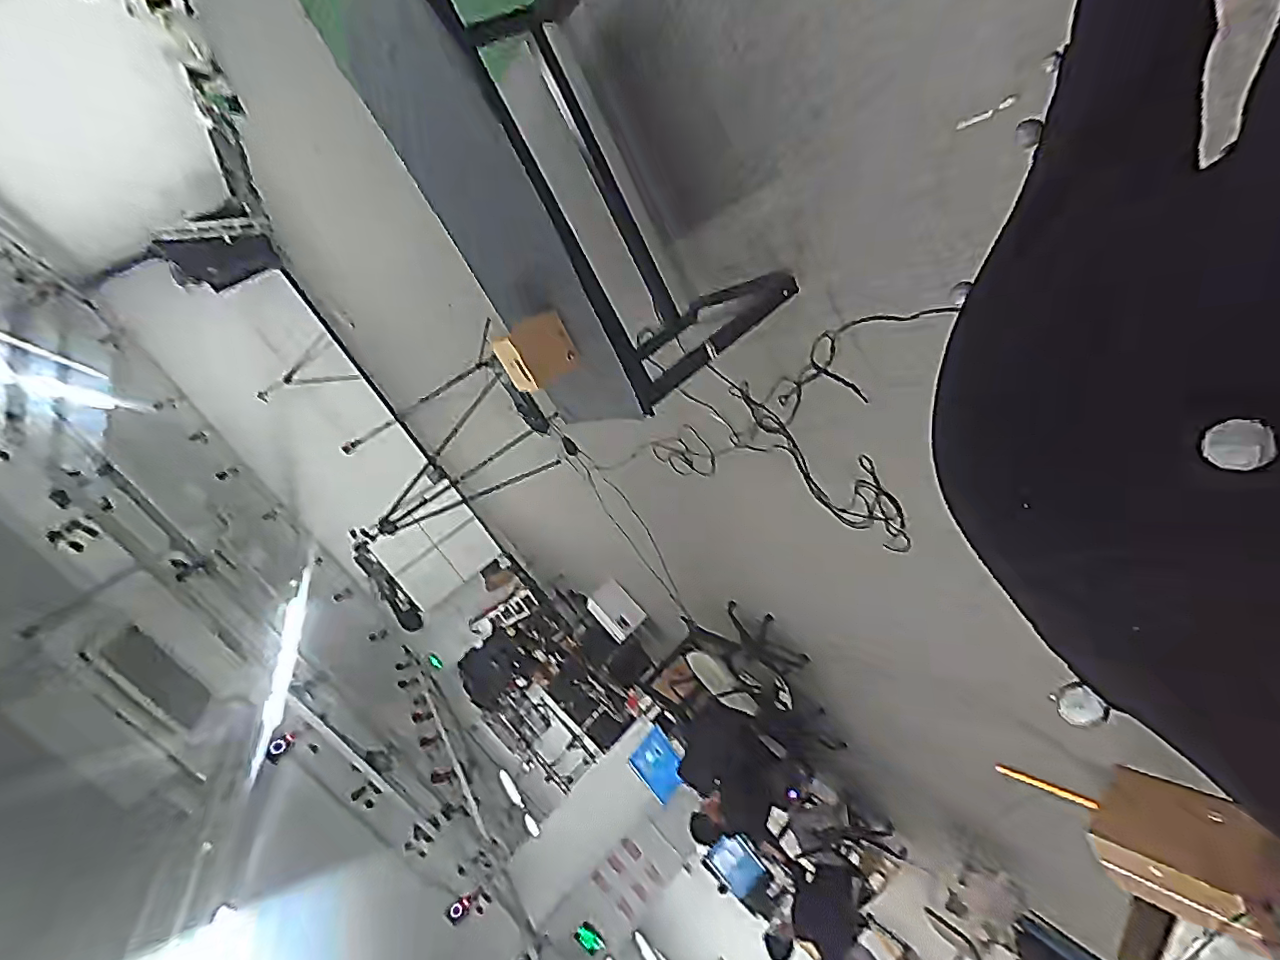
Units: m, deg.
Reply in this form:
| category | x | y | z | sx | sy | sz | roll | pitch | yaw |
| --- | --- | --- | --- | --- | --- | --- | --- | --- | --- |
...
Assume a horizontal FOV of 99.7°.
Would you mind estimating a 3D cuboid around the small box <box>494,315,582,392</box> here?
| category | x | y | z | sx | sy | sz | roll | pitch | yaw |
| --- | --- | --- | --- | --- | --- | --- | --- | --- | --- |
| small box | -0.298 | -0.376 | 1.610 | 0.179 | 0.176 | 0.168 | 15 | 138 | 55 |
